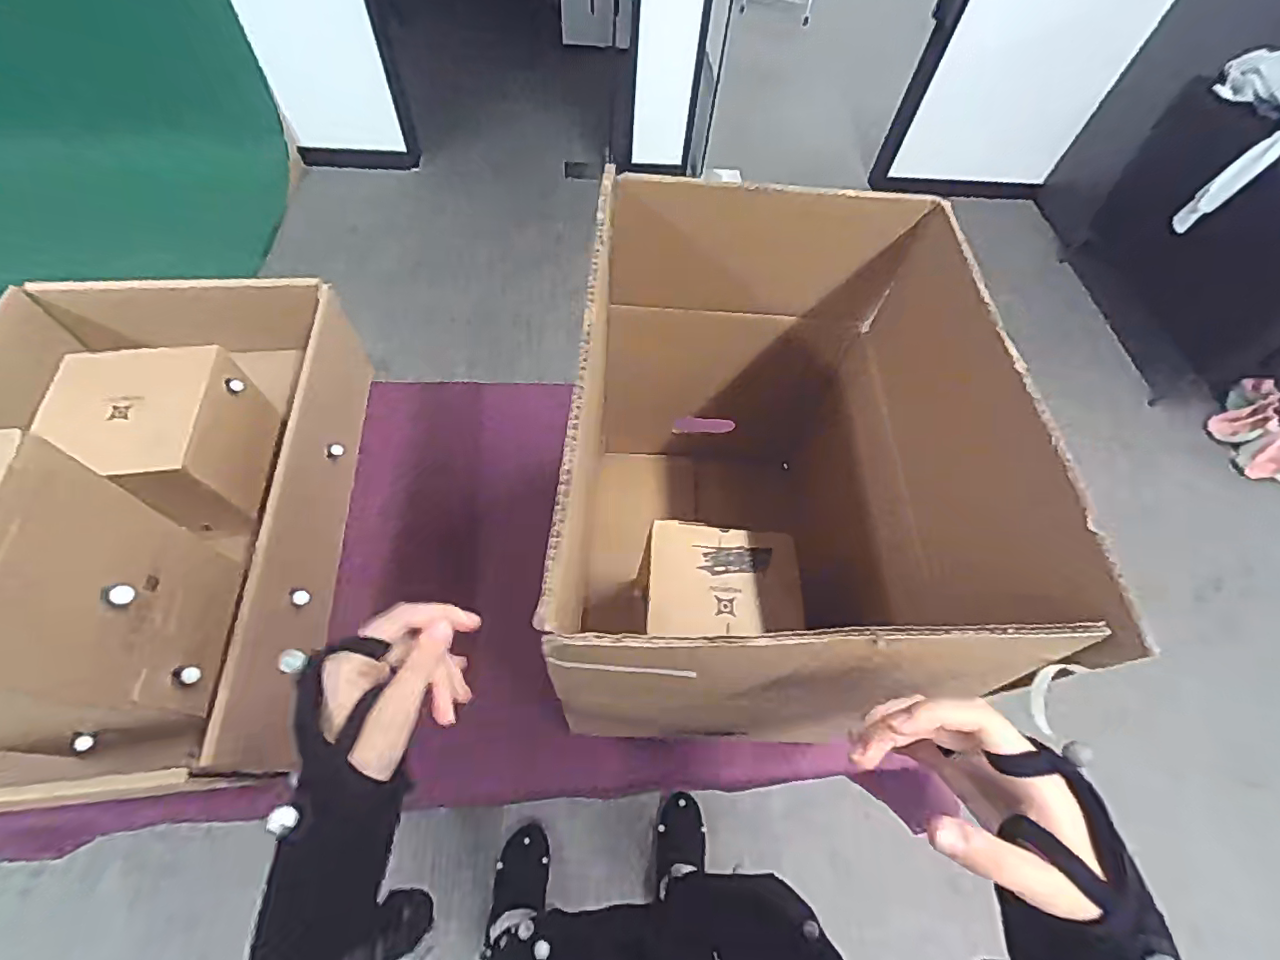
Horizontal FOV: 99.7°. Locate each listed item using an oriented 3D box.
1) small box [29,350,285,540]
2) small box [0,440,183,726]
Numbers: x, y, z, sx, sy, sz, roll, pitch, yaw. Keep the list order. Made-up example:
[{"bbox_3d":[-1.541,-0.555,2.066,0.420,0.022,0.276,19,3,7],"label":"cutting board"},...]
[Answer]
[{"bbox_3d":[-0.571,-0.033,0.662,0.168,0.176,0.179,-6,60,-7],"label":"small box"},{"bbox_3d":[-0.509,0.087,0.402,0.179,0.176,0.168,-3,60,-6],"label":"small box"}]
